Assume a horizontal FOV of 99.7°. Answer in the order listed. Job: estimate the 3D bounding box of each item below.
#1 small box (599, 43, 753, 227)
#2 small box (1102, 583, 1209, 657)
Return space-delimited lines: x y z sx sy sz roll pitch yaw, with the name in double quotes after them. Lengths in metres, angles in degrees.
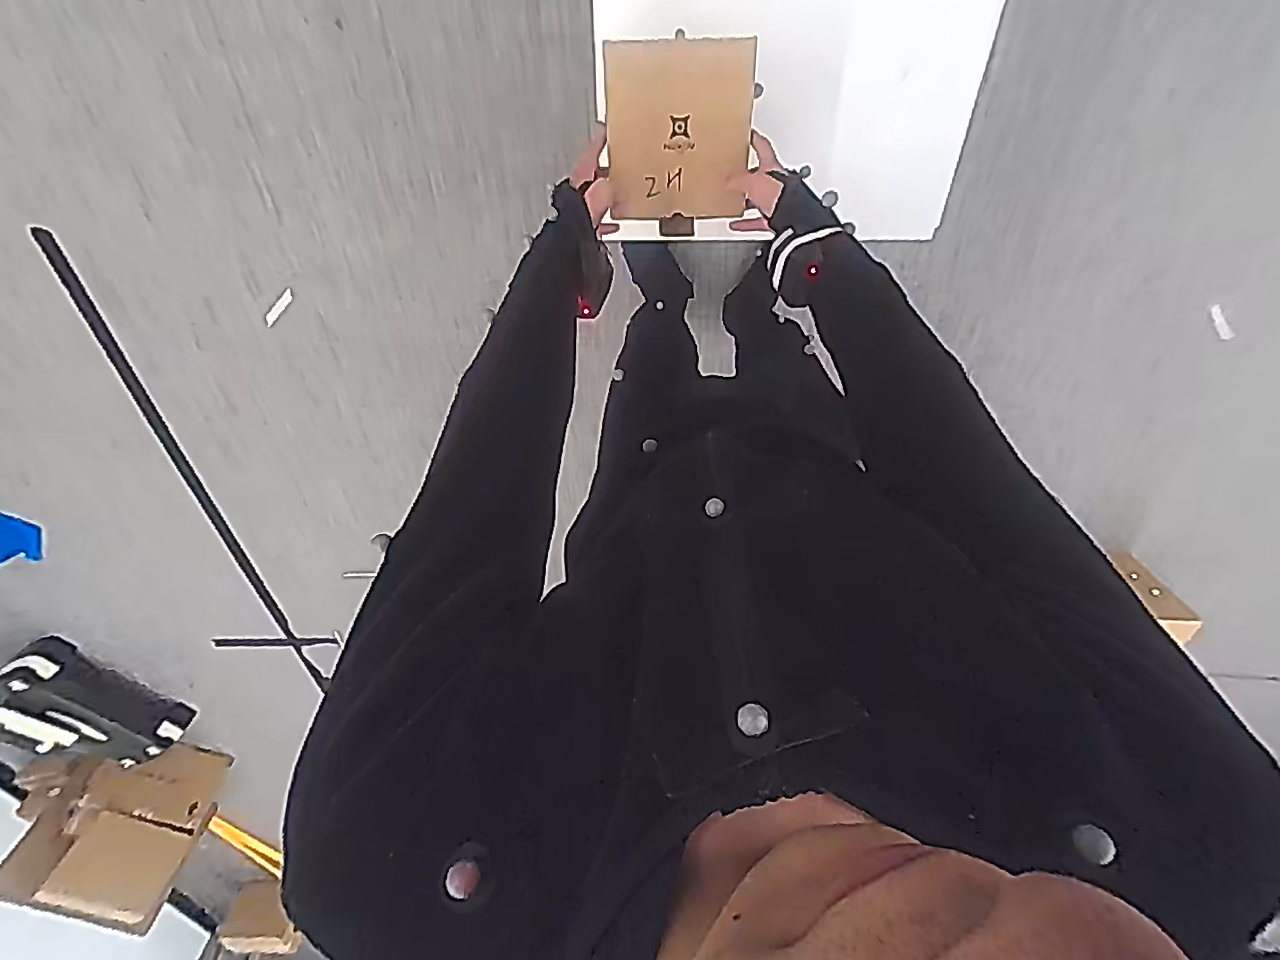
0.037 -0.426 0.676 0.168 0.176 0.179 -1 125 1 "small box"
1.736 0.475 1.836 0.168 0.176 0.179 2 123 -2 "small box"
